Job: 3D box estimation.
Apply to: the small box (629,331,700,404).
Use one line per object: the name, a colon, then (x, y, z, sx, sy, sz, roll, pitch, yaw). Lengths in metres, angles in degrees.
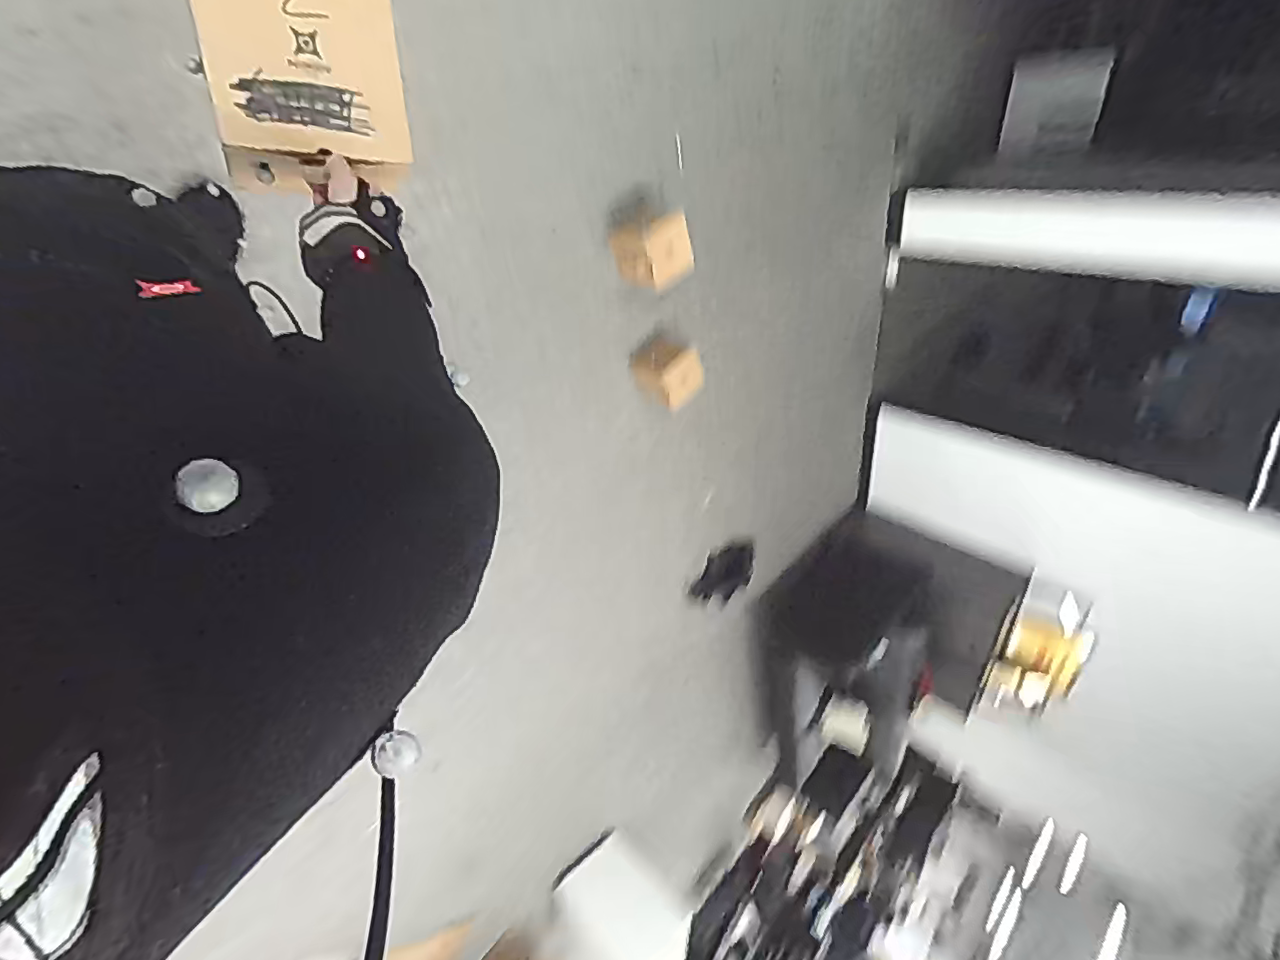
small box: (0.081, -0.400, 1.904, 0.179, 0.176, 0.168, -47, 140, -19)

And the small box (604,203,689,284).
small box: (0.020, -0.726, 1.647, 0.179, 0.176, 0.168, -44, 137, -20)
